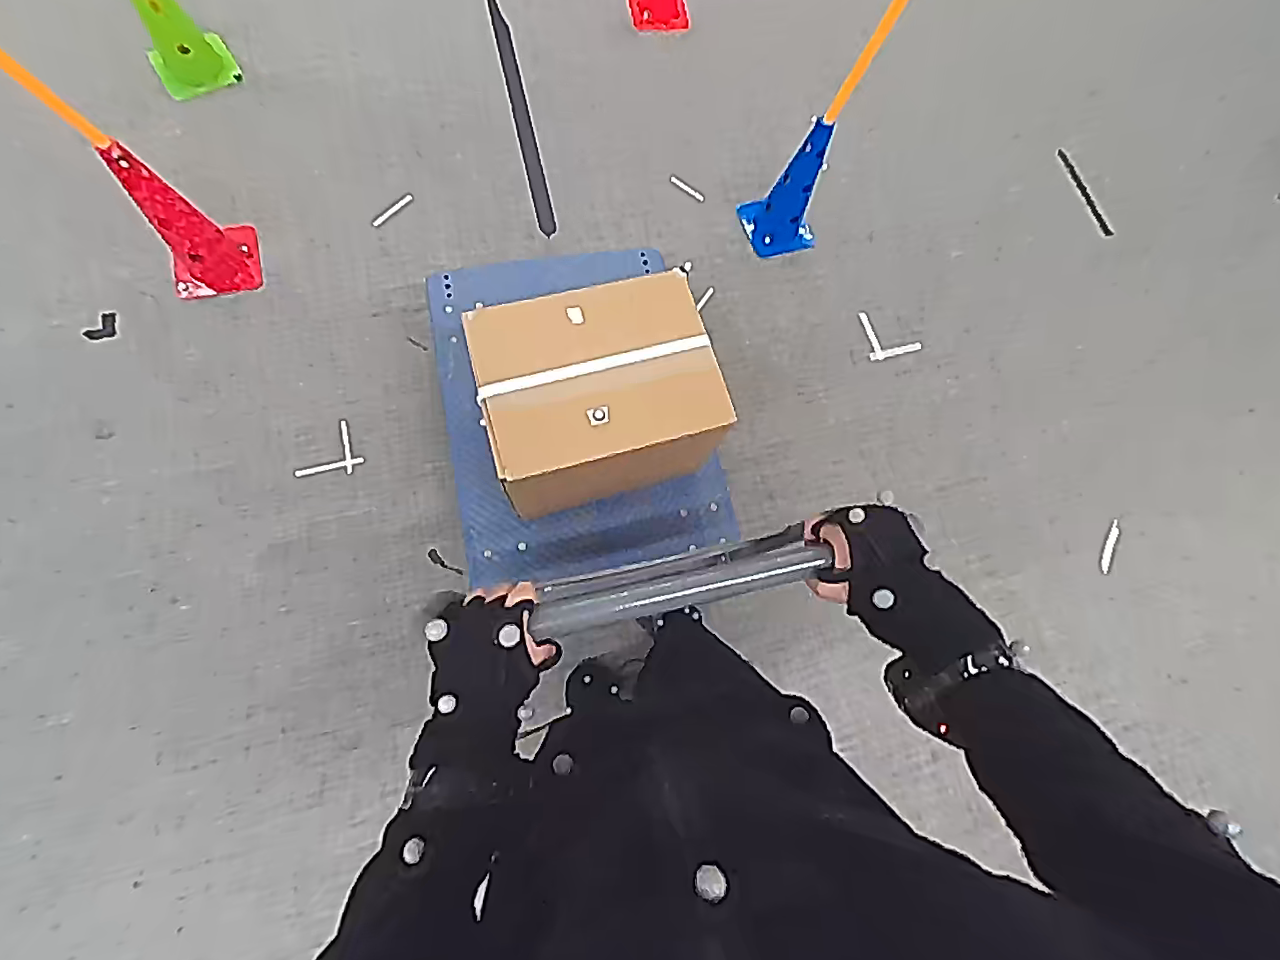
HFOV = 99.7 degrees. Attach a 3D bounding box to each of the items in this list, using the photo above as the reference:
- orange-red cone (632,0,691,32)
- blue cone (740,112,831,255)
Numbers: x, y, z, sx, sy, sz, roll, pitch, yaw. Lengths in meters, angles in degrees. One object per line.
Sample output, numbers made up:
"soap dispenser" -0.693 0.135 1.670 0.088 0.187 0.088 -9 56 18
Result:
"orange-red cone" 0.091 -1.648 1.677 0.199 0.360 0.198 -6 75 -10
"blue cone" 0.435 -0.824 1.497 0.193 0.380 0.192 -16 75 -12
